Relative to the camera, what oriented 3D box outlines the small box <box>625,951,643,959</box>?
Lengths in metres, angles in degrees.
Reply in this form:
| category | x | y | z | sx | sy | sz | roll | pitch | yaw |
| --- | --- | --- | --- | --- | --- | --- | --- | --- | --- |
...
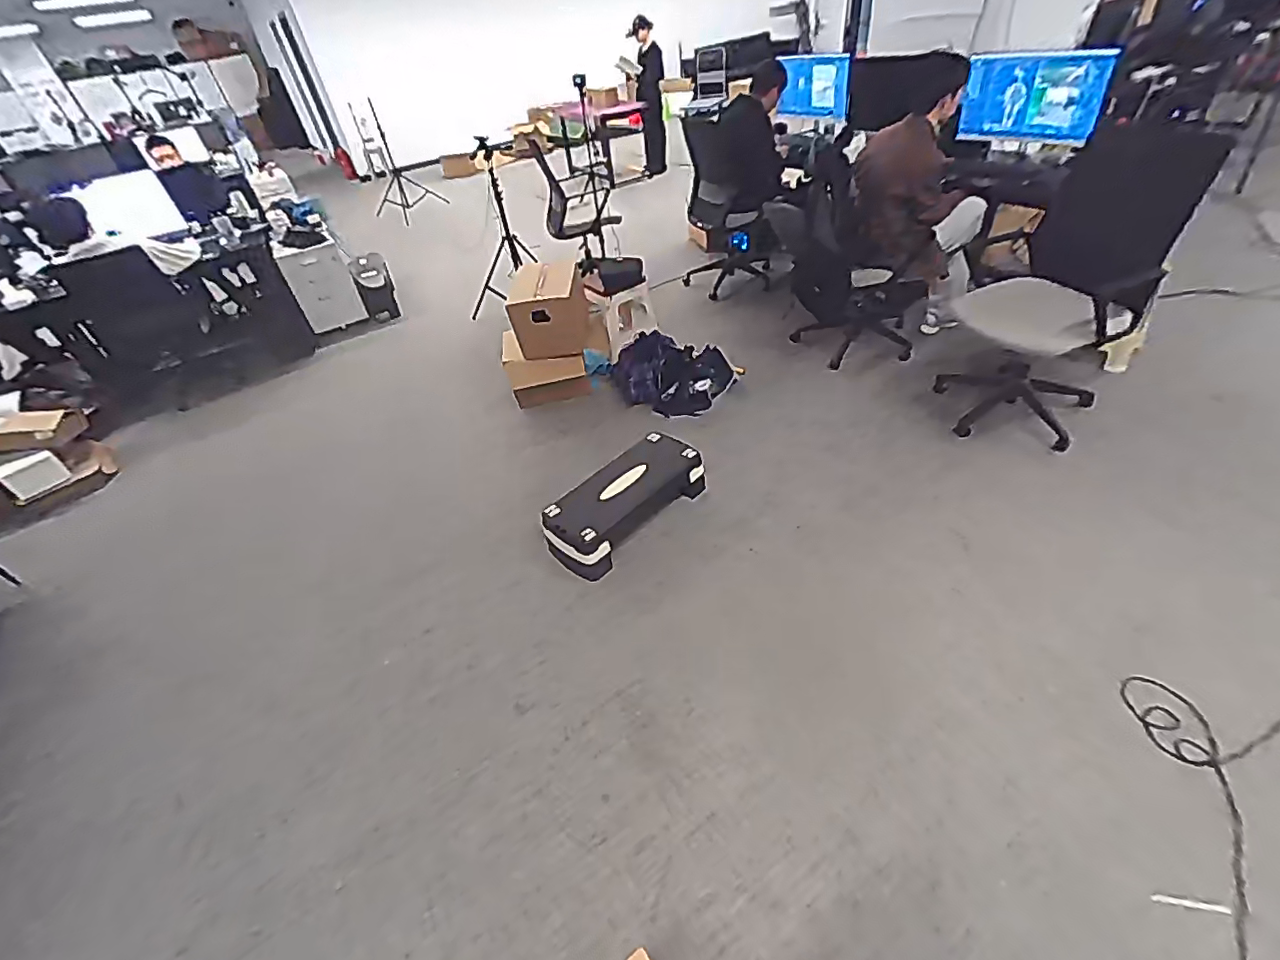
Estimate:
| category | x | y | z | sx | sy | sz | roll | pitch | yaw |
| --- | --- | --- | --- | --- | --- | --- | --- | --- | --- |
| small box | -0.010 | 0.972 | 0.929 | 0.168 | 0.176 | 0.179 | -31 | 46 | -22 |
